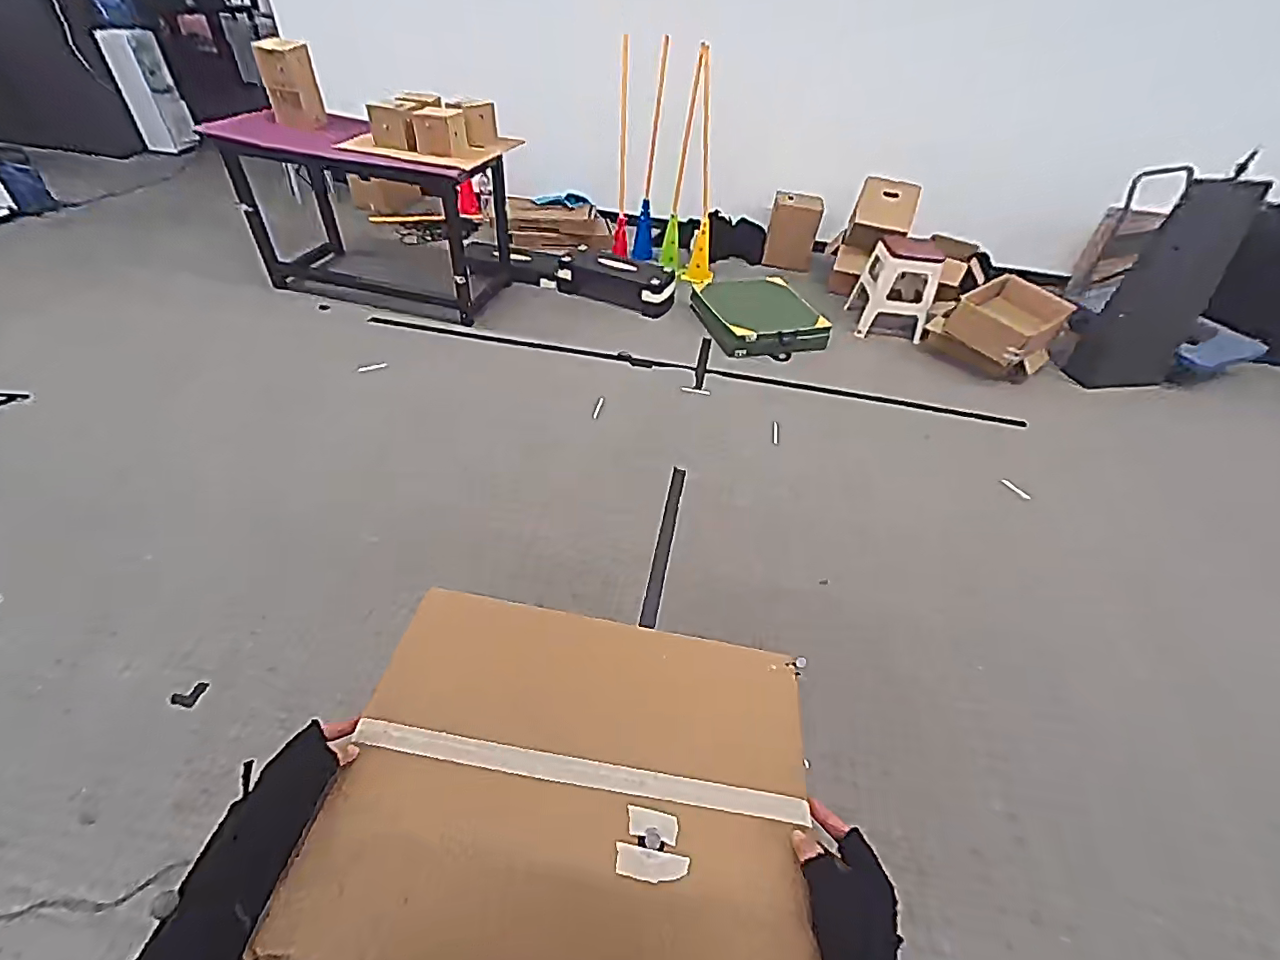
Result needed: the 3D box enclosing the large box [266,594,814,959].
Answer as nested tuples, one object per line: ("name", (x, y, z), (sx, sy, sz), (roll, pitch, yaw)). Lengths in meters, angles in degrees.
("large box", (-0.073, 0.368, 0.585), (0.408, 0.320, 0.320), (11, 43, 0))
